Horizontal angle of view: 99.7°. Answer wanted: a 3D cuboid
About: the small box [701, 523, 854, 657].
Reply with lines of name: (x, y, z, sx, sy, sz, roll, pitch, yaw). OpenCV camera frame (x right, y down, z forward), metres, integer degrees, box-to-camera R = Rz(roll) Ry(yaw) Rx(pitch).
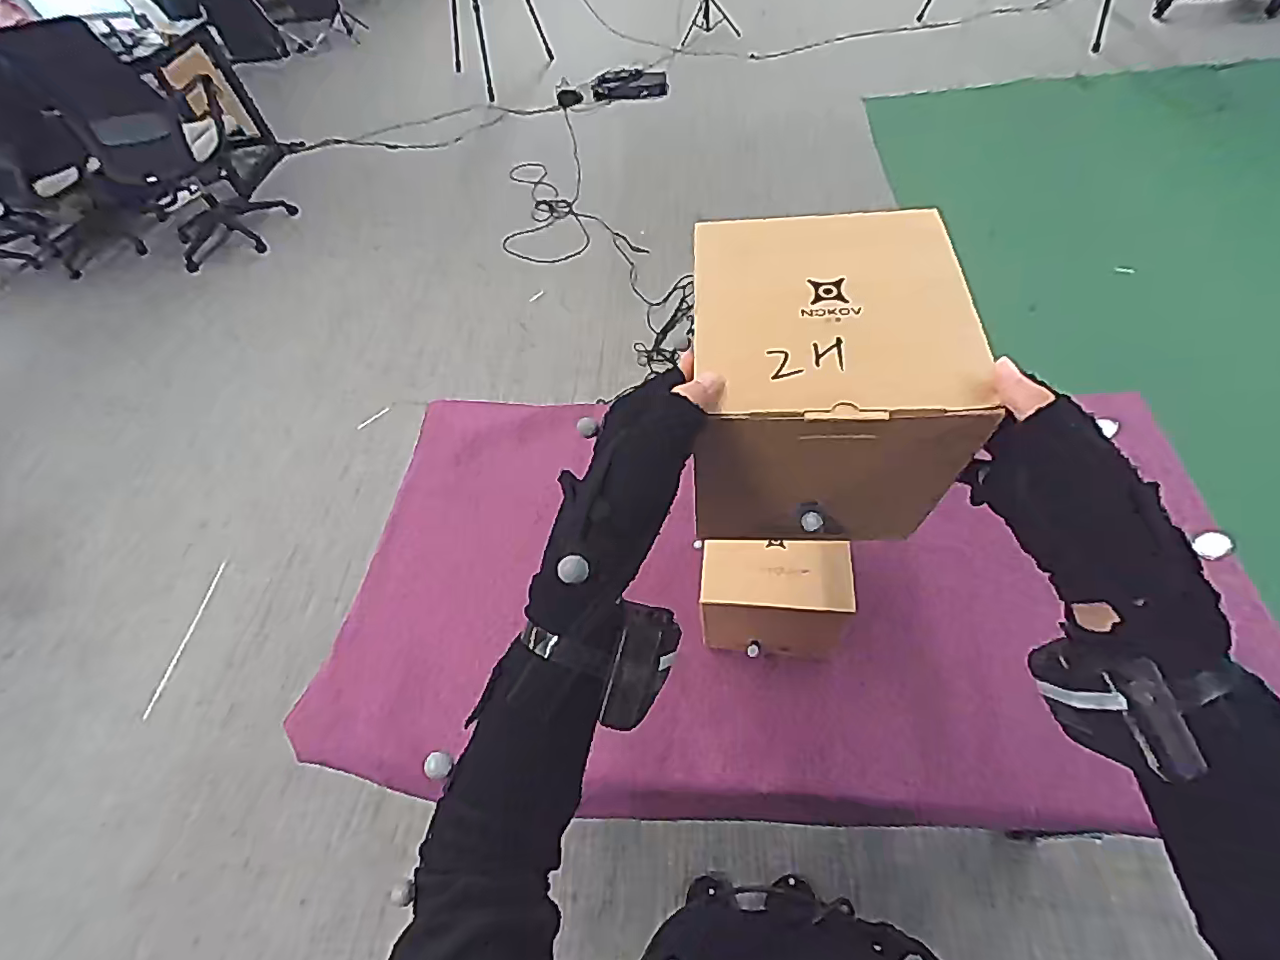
small box: (0.170, 0.110, 0.698, 0.168, 0.176, 0.179, 3, 56, 11)

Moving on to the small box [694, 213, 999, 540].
small box: (0.126, -0.070, 0.408, 0.168, 0.176, 0.179, 0, 60, 8)
